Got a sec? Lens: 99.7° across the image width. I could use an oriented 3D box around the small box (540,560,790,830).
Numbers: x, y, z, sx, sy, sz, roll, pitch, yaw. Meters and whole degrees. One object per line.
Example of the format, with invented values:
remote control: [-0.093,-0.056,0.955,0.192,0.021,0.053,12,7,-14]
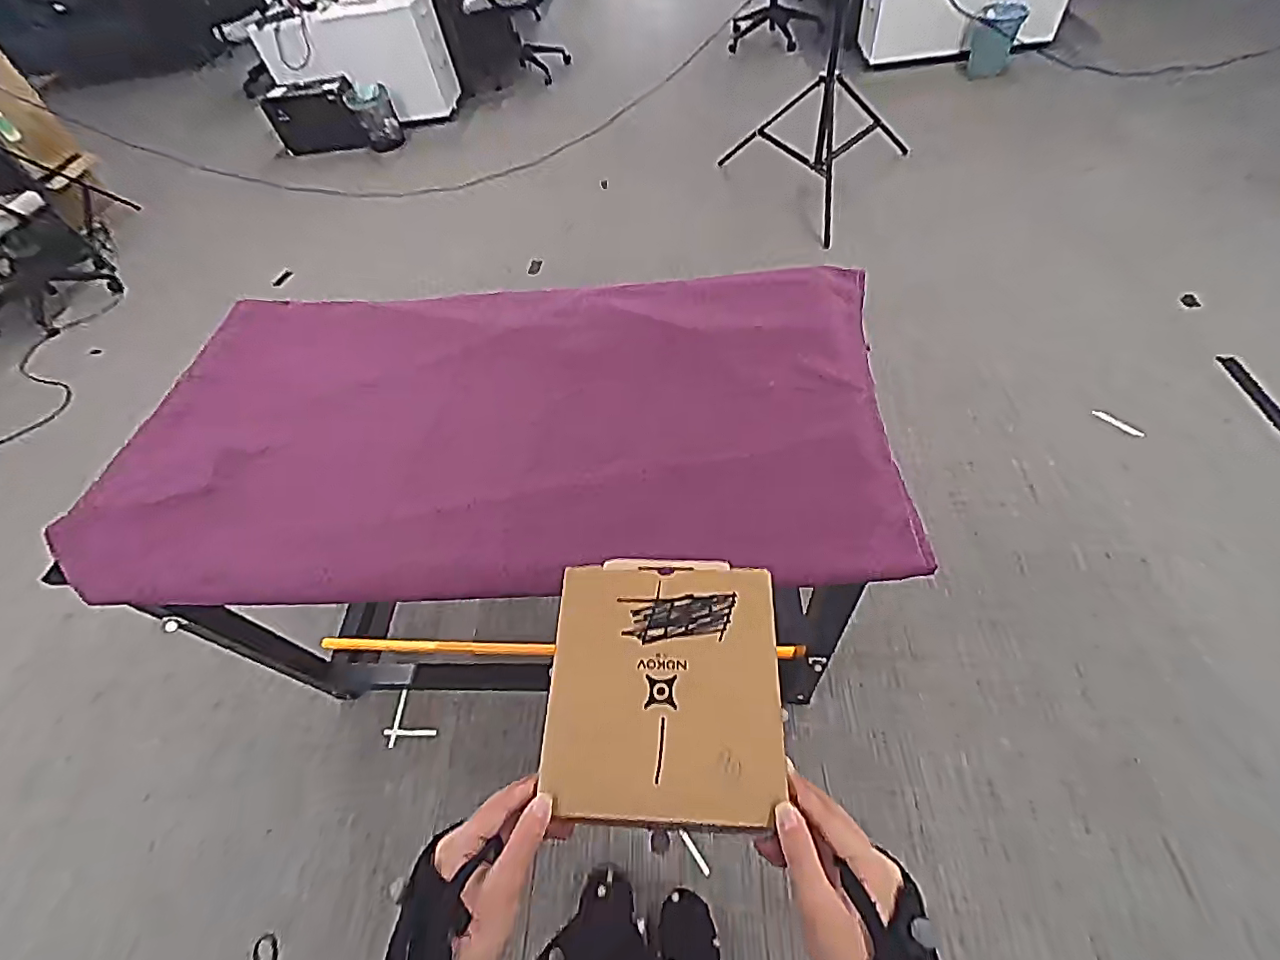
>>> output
small box: [0.026,0.185,0.460,0.168,0.176,0.179,0,55,6]
